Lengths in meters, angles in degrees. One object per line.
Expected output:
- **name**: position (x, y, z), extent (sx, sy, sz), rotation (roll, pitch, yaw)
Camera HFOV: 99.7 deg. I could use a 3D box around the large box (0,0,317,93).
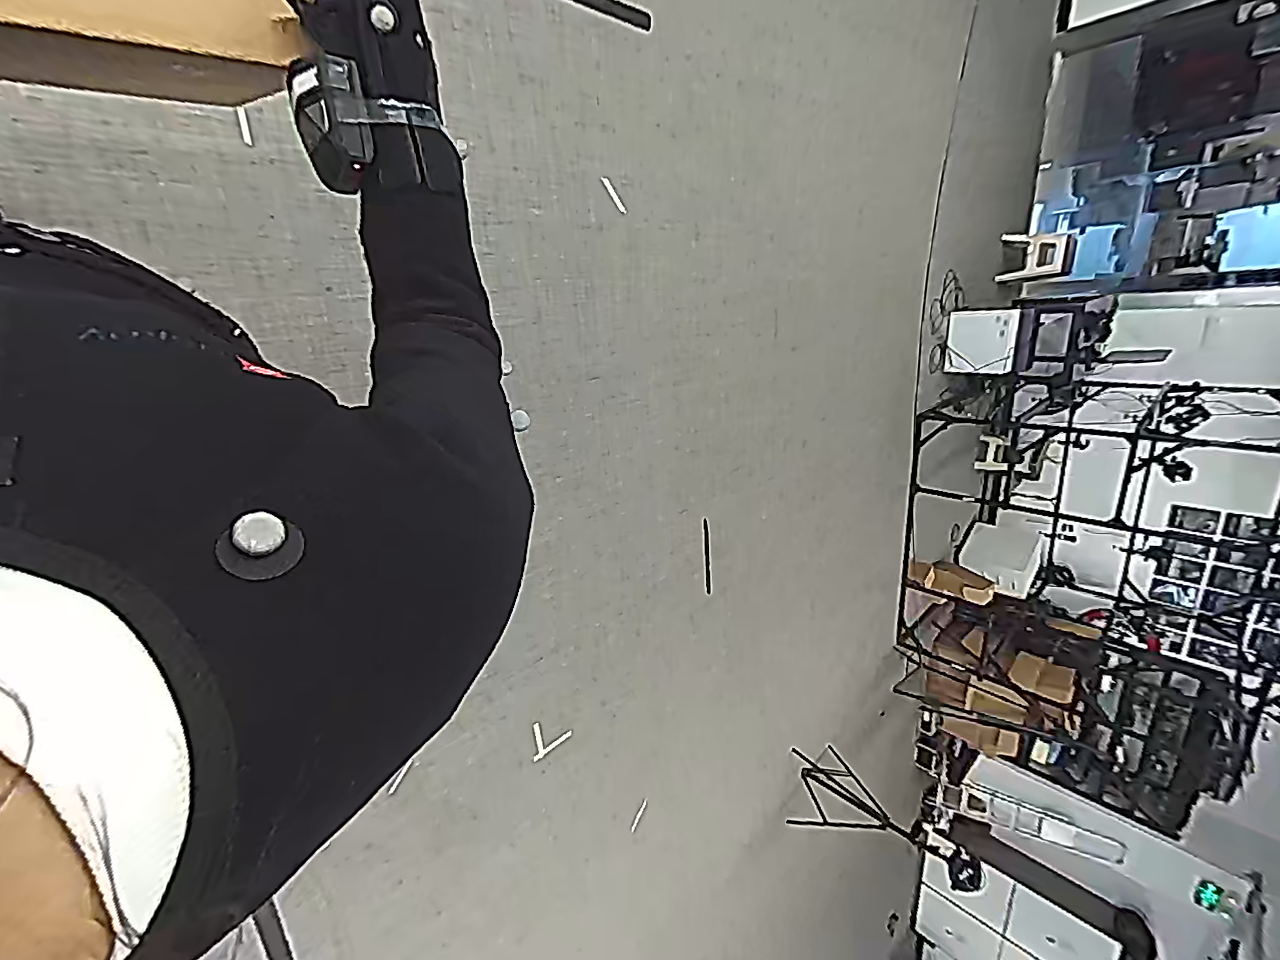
- **large box**: position (-0.455, -0.410, 0.263), extent (0.408, 0.320, 0.320), rotation (-21, 128, -38)
